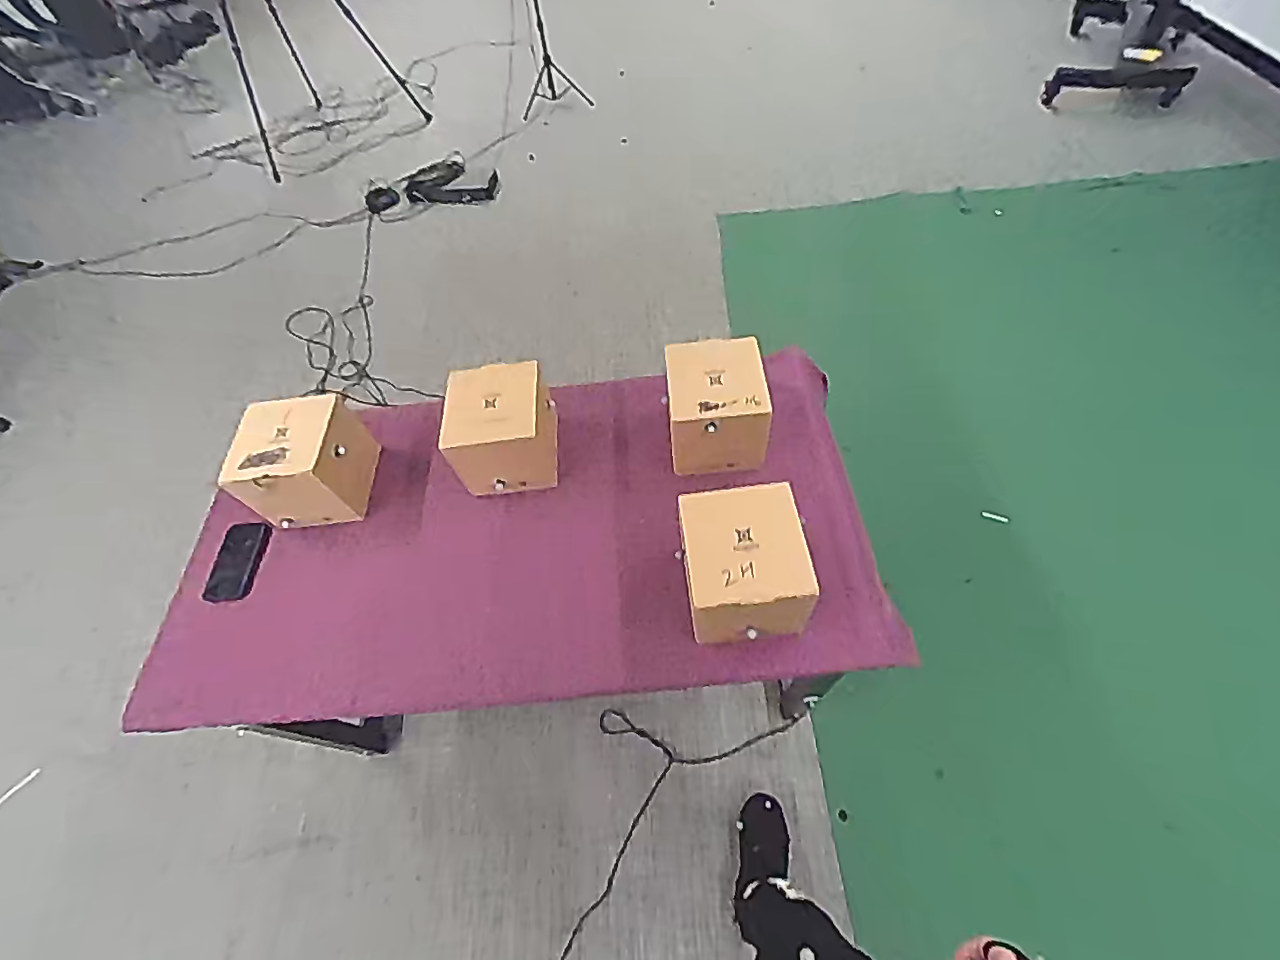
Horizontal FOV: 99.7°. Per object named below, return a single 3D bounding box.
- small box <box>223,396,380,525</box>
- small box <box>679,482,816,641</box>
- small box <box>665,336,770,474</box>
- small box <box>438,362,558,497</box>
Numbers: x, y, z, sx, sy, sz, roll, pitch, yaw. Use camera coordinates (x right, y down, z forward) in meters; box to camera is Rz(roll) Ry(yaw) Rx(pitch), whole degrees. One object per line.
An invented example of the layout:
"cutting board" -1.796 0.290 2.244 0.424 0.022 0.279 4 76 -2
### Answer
"small box" -0.612 -0.028 1.006 0.168 0.176 0.179 -7 57 2
"small box" 0.151 0.126 0.812 0.168 0.176 0.179 -8 58 4
"small box" 0.134 -0.132 0.982 0.168 0.176 0.179 -6 57 4
"small box" -0.252 -0.090 1.004 0.168 0.176 0.179 -7 58 3
